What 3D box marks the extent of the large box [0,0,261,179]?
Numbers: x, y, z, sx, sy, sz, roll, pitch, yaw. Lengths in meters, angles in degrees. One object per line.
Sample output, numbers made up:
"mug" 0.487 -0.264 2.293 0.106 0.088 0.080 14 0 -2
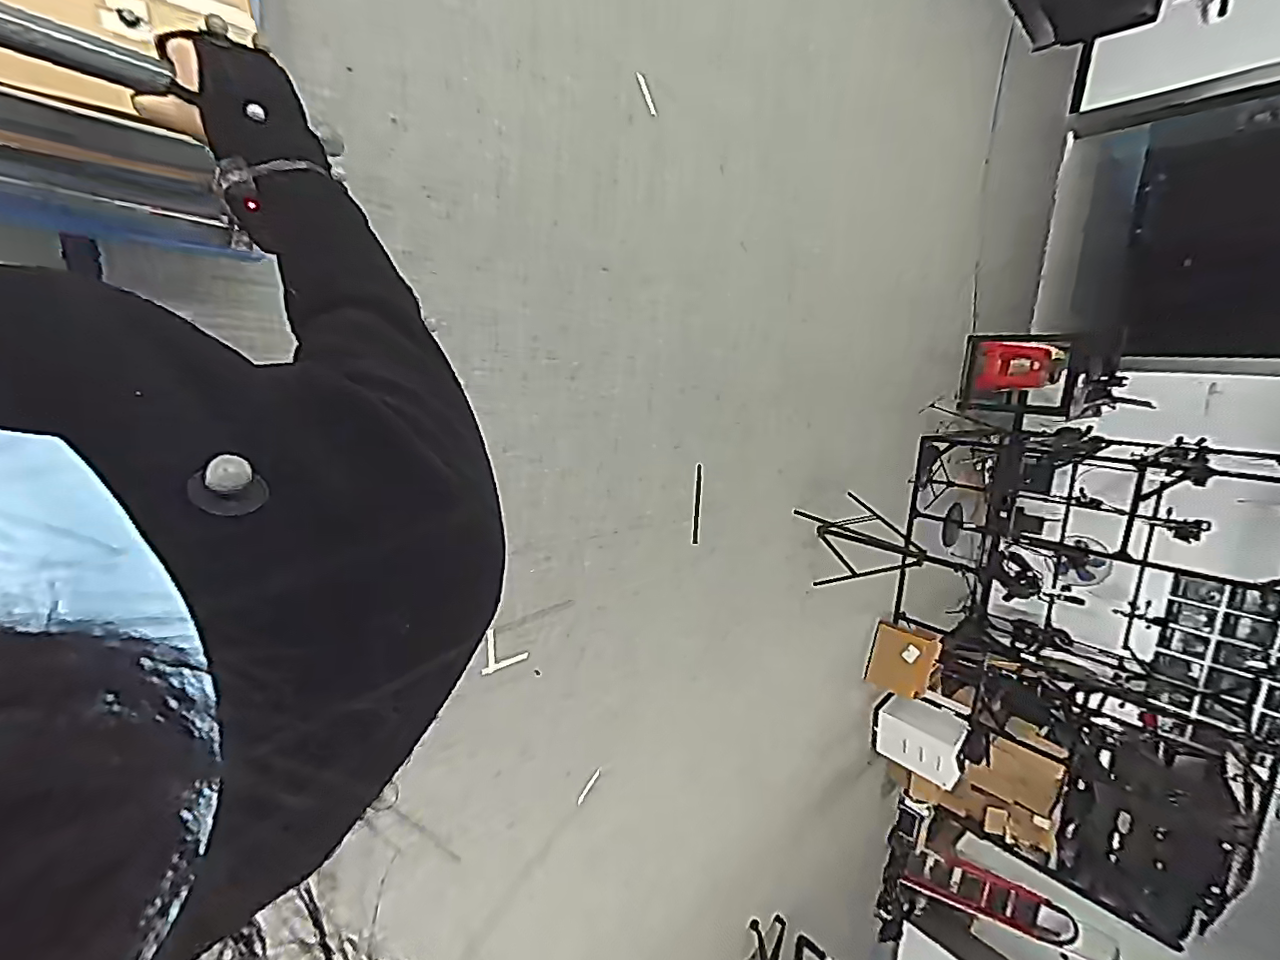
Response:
"large box" -0.811 -0.657 0.743 0.408 0.320 0.320 -10 108 -44
